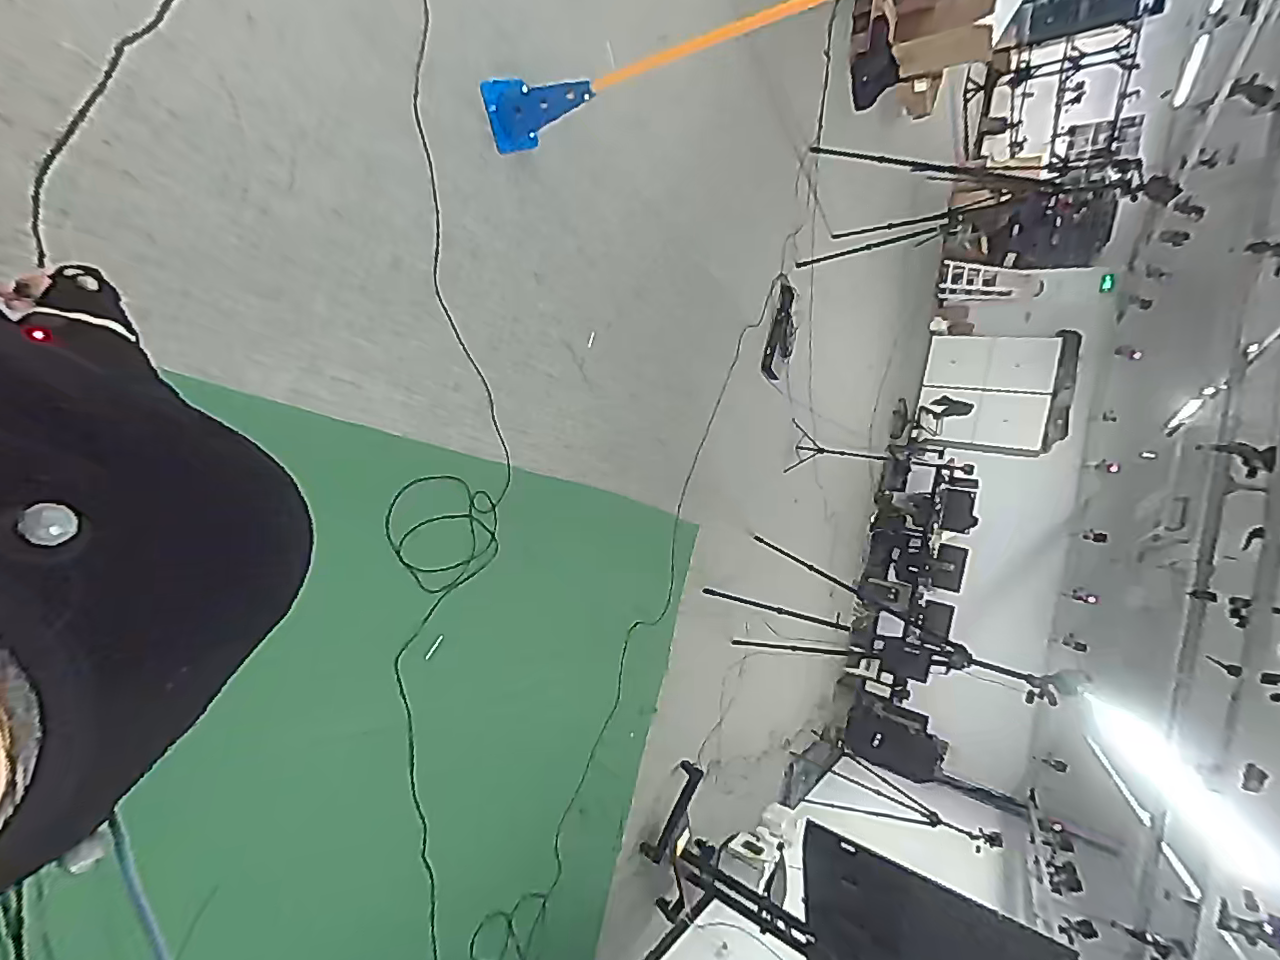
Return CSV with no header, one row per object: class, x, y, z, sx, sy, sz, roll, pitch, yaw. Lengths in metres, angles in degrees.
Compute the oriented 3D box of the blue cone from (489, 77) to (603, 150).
blue cone,-0.275,-1.191,1.697,0.193,0.380,0.192,-47,134,-41
